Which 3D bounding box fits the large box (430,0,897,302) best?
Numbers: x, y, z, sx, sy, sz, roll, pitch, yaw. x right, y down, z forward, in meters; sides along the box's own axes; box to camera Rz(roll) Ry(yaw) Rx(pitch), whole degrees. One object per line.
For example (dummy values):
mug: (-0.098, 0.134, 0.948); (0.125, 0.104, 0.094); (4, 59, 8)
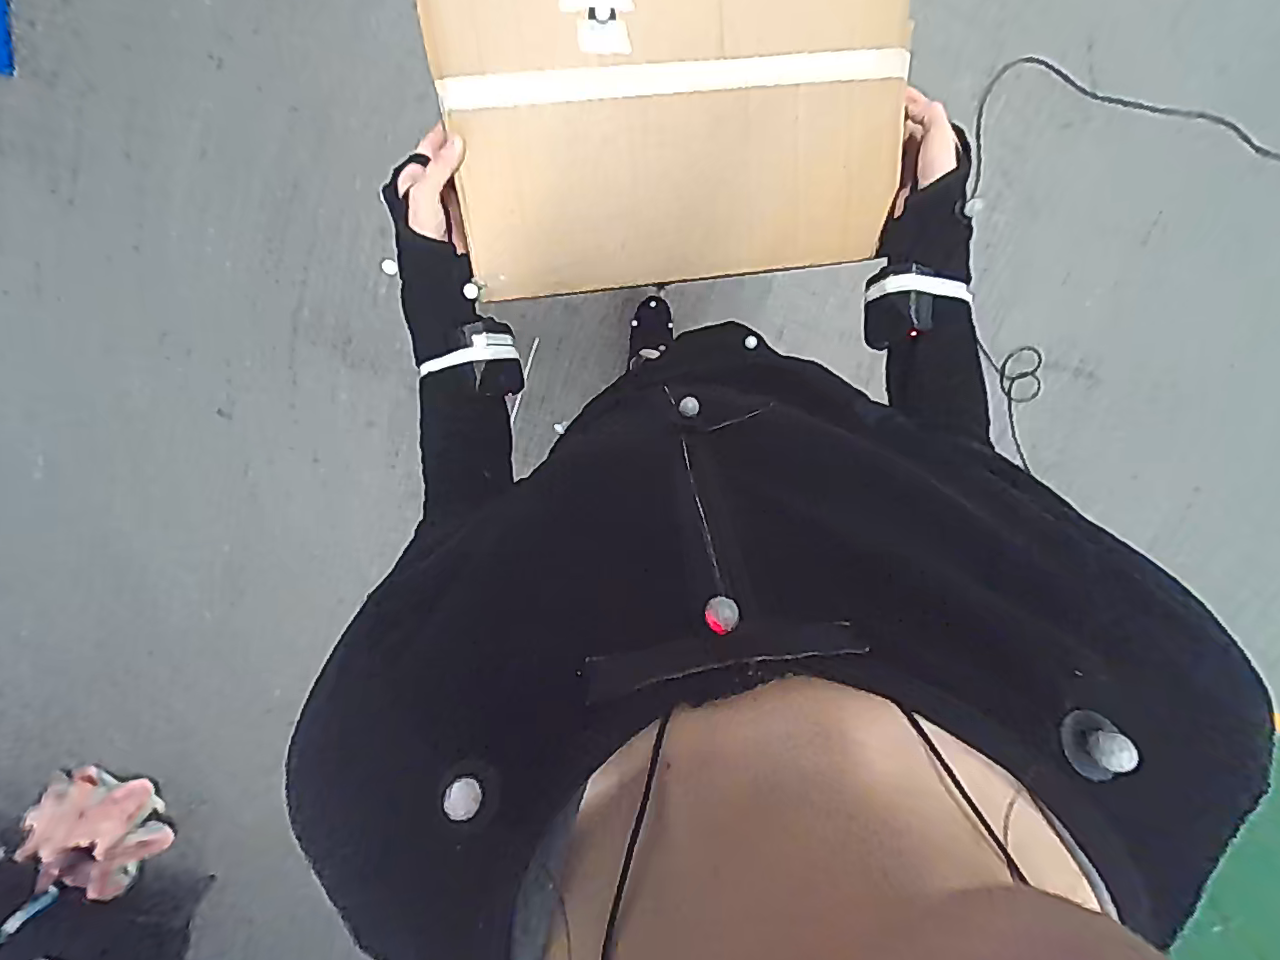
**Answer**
large box: (0.013, -0.388, 0.611); (0.408, 0.320, 0.320); (-8, 110, -7)
